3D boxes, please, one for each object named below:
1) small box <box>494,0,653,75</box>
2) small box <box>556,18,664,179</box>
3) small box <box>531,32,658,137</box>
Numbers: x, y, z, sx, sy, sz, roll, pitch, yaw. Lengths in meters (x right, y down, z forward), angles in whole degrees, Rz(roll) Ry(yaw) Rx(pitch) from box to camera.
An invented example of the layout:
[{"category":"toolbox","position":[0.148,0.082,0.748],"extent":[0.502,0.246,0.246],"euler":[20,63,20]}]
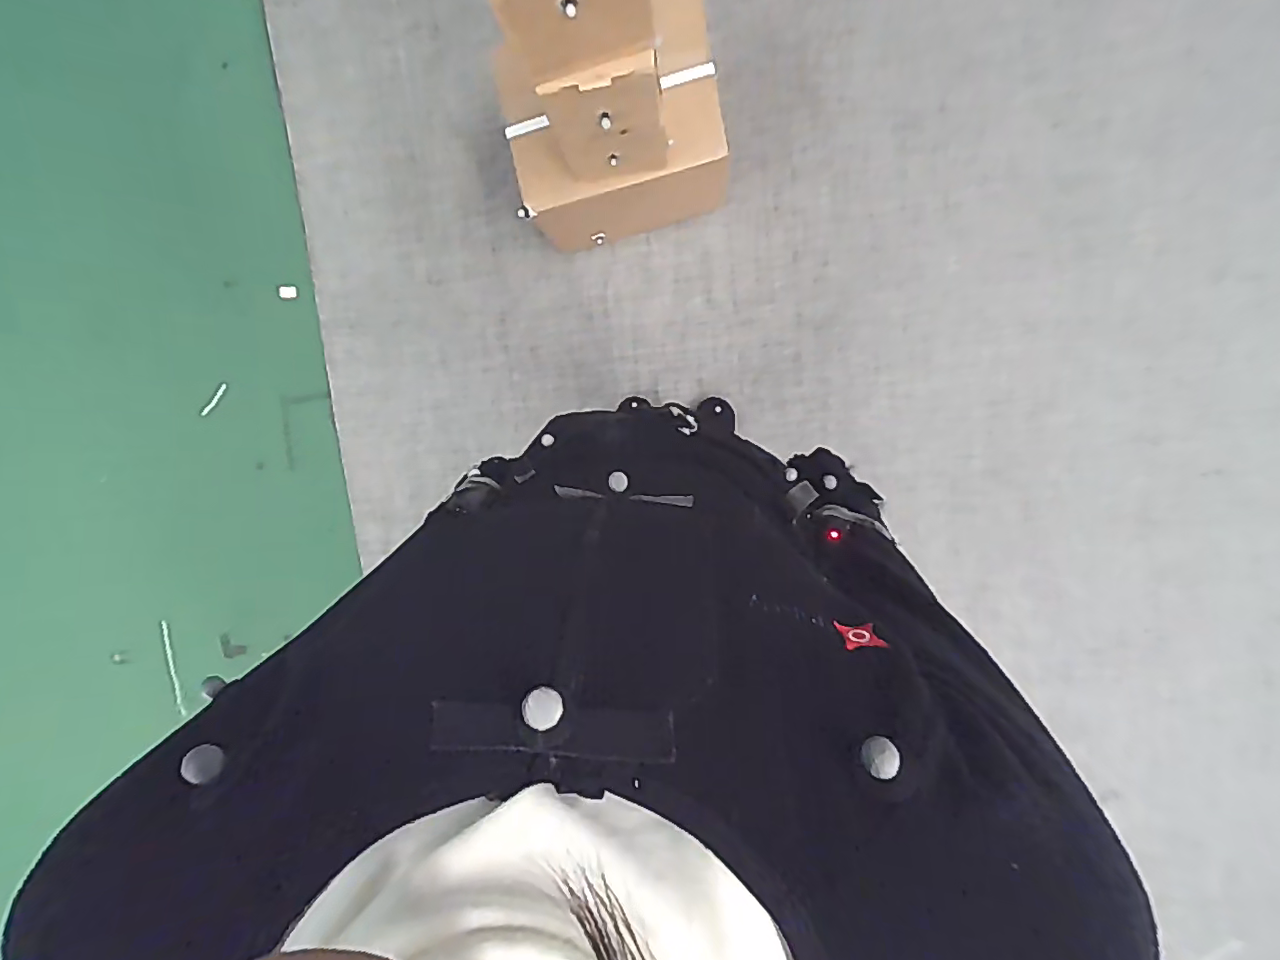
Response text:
[{"category":"small box","position":[-0.089,-0.618,0.627],"extent":[0.179,0.176,0.168],"euler":[-13,99,6]},{"category":"small box","position":[-0.053,-0.657,0.949],"extent":[0.179,0.176,0.168],"euler":[-6,98,7]},{"category":"small box","position":[-0.067,-0.631,0.789],"extent":[0.168,0.176,0.179],"euler":[-7,99,6]}]
